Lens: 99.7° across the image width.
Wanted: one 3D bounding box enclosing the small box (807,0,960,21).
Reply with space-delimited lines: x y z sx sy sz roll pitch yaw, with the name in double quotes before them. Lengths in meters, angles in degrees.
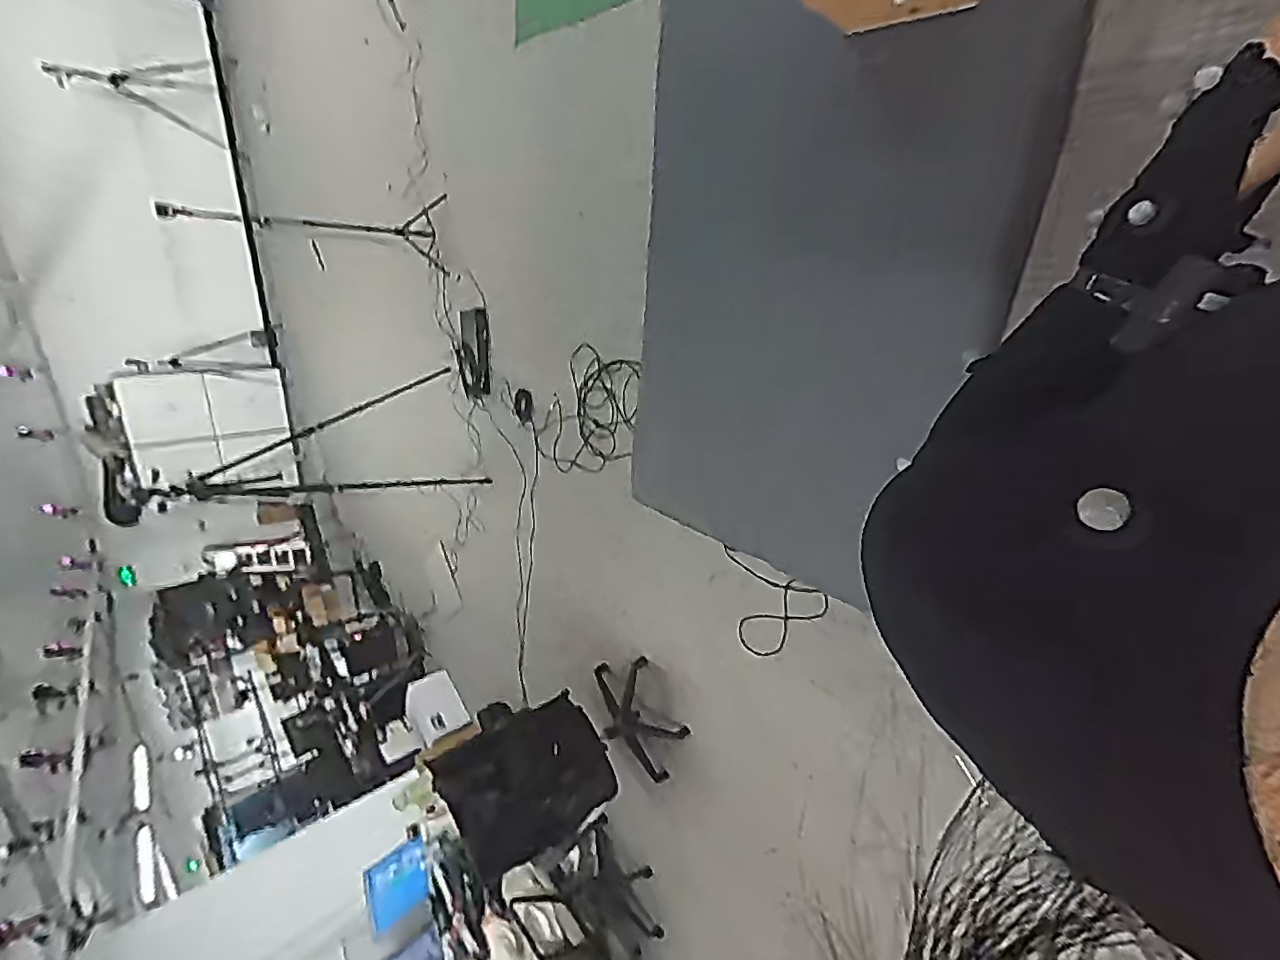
"small box" 0.268 -0.624 0.570 0.168 0.176 0.179 27 121 41
